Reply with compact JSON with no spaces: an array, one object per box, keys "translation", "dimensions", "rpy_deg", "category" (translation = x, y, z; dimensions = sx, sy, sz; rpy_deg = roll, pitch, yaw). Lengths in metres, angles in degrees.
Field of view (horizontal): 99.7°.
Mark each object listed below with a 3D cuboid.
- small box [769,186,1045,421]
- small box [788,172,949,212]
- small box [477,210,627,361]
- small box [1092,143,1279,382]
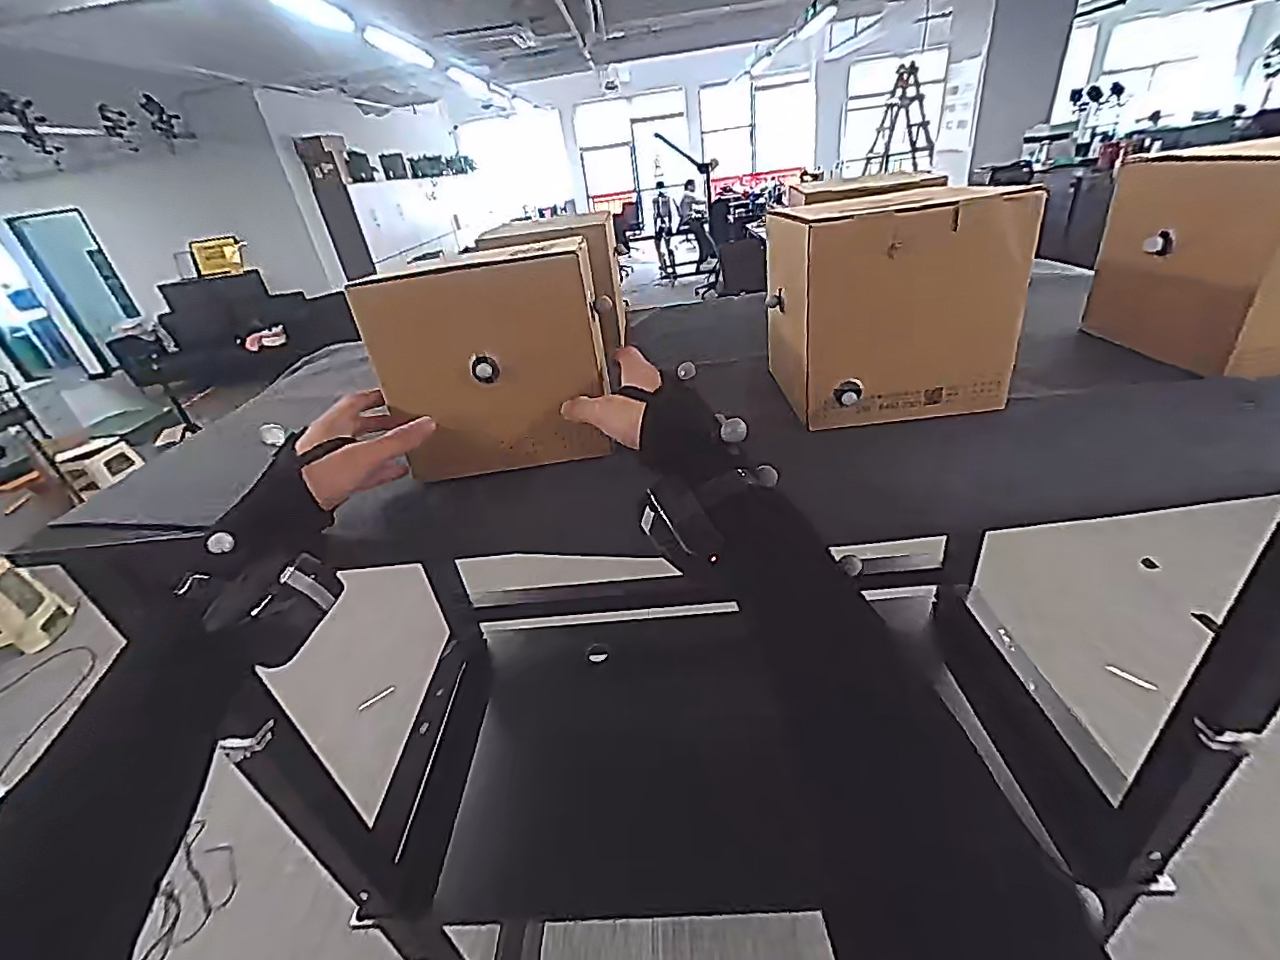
[{"translation":[0.217,-0.158,0.492],"dimensions":[0.168,0.176,0.179],"rpy_deg":[-6,28,5],"category":"small box"},{"translation":[0.299,-0.318,0.749],"dimensions":[0.168,0.176,0.179],"rpy_deg":[-2,30,8],"category":"small box"},{"translation":[-0.111,-0.273,0.768],"dimensions":[0.168,0.176,0.179],"rpy_deg":[-6,31,3],"category":"small box"},{"translation":[0.554,-0.197,0.475],"dimensions":[0.168,0.176,0.179],"rpy_deg":[-7,29,5],"category":"small box"}]
